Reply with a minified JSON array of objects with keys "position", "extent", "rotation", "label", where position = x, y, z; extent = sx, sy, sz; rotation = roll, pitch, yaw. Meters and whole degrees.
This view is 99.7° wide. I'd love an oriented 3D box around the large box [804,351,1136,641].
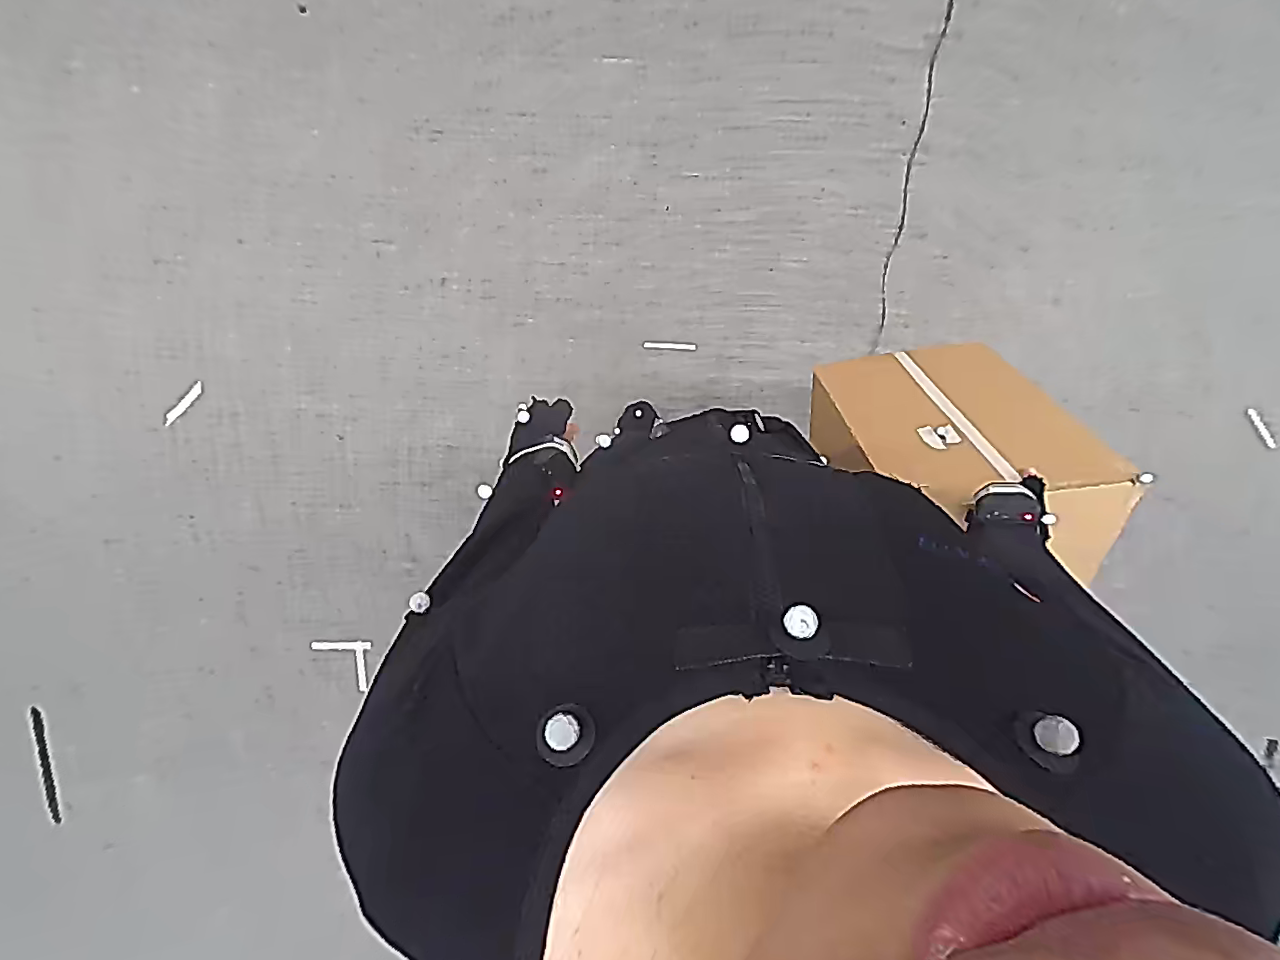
[{"position":[0.509,0.016,0.961],"extent":[0.320,0.408,0.320],"rotation":[-8,130,3],"label":"large box"}]
